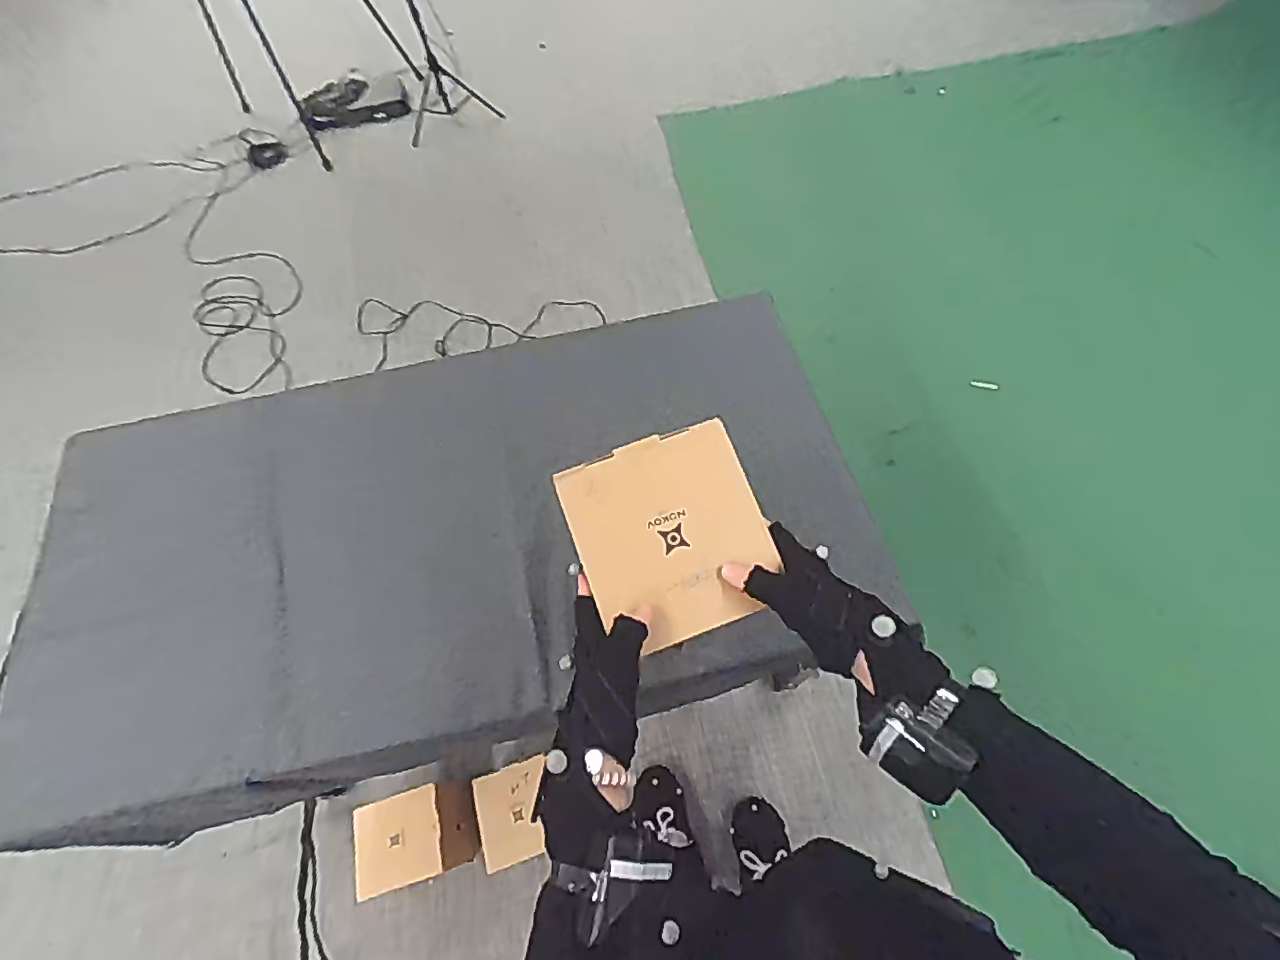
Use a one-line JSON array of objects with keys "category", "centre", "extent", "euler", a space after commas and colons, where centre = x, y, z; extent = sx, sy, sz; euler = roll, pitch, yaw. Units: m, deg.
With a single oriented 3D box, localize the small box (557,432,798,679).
[{"category": "small box", "centre": [0.025, 0.078, 0.540], "extent": [0.168, 0.176, 0.179], "euler": [-19, 78, -7]}]
